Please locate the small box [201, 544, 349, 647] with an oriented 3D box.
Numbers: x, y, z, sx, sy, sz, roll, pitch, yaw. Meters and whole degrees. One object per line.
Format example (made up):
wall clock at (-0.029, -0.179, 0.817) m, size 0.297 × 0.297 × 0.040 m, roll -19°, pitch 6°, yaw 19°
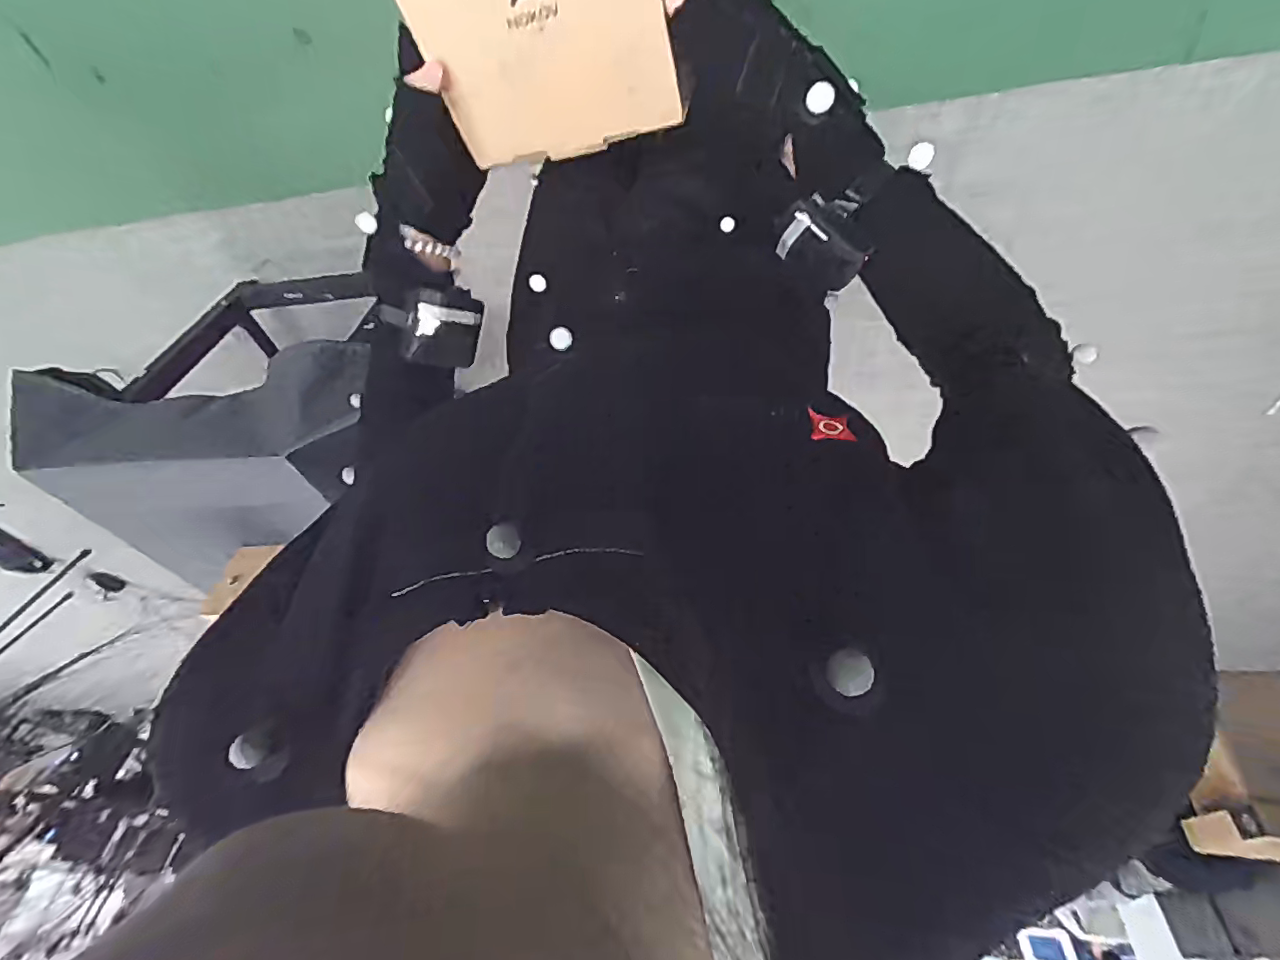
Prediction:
small box at (-0.791, 0.254, 1.192) m, size 0.179 × 0.176 × 0.168 m, roll -4°, pitch 140°, yaw 12°
